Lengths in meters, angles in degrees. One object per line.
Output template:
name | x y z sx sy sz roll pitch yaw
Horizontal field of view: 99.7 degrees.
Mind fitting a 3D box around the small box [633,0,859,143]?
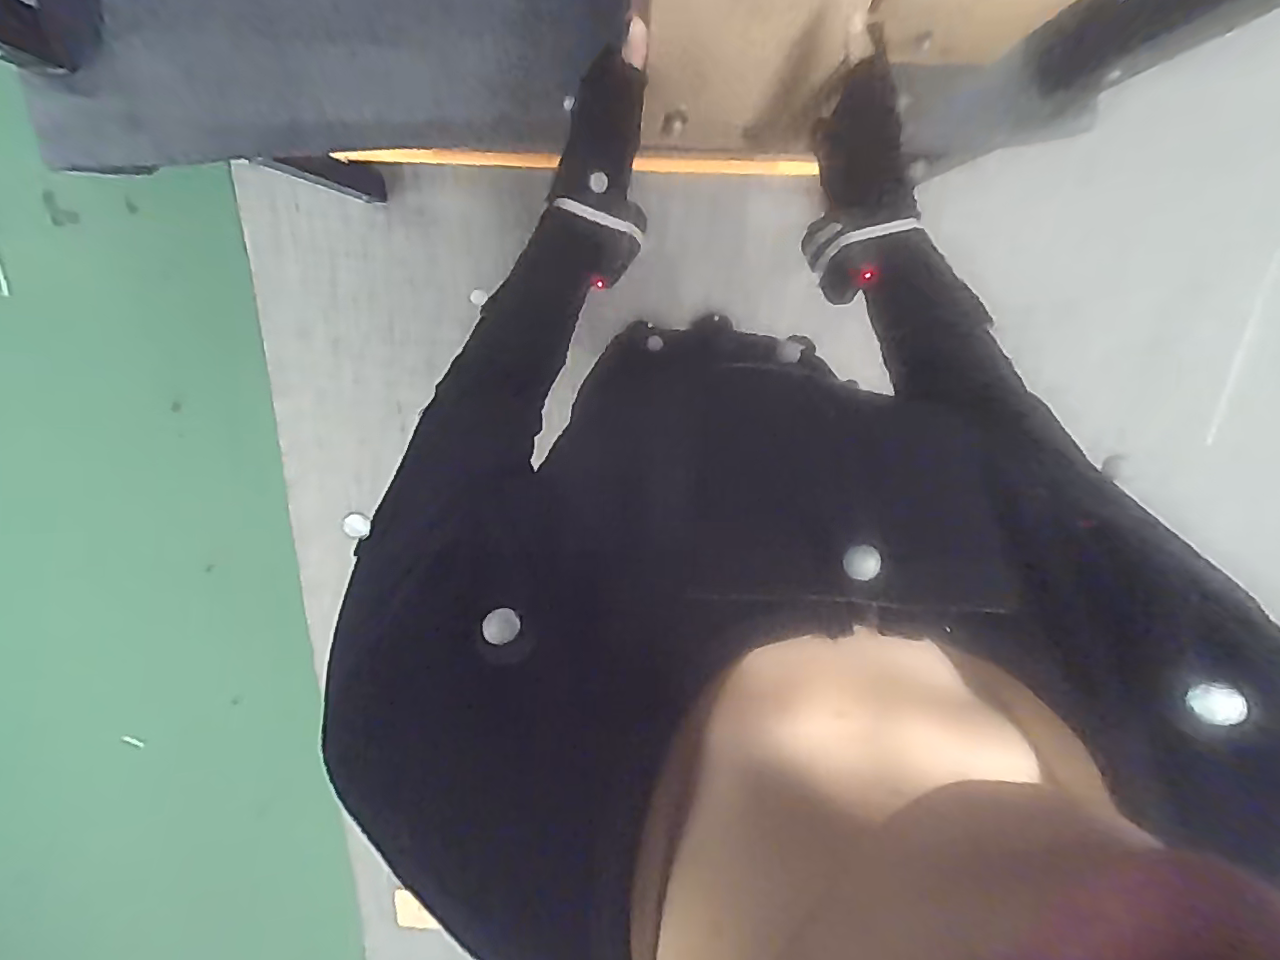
small box | 0.082 -0.421 0.457 0.168 0.176 0.179 0 74 -5

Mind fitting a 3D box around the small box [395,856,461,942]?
small box | -0.737 1.462 1.894 0.168 0.176 0.179 4 107 2
